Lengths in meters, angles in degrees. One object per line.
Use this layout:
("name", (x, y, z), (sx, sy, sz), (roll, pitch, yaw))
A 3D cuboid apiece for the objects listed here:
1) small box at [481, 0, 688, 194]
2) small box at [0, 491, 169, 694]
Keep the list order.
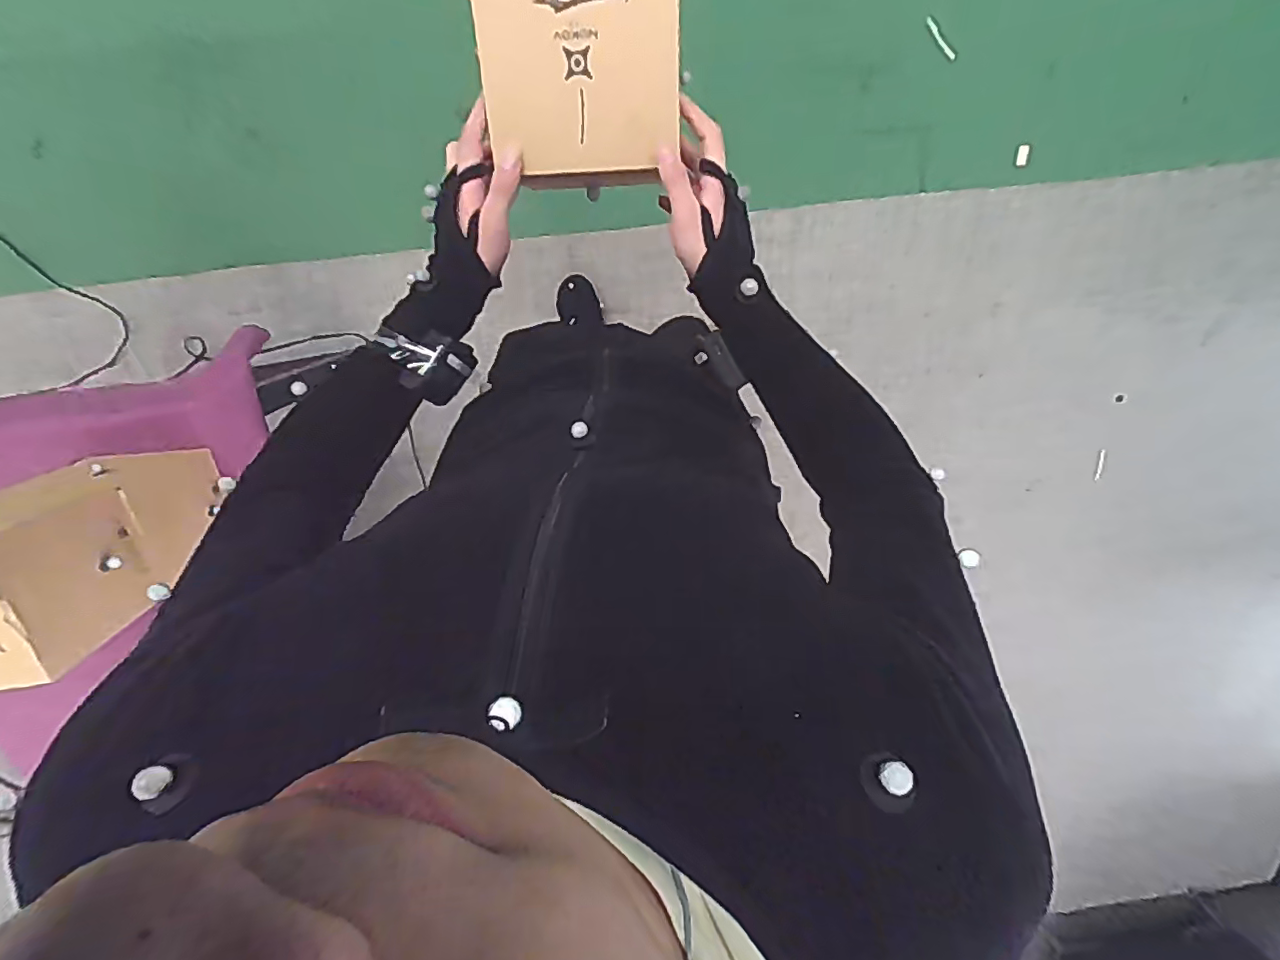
("small box", (-0.043, -0.377, 0.513), (0.168, 0.176, 0.179), (-1, 116, 2))
("small box", (-0.711, 0.124, 0.617), (0.179, 0.176, 0.168), (-6, 112, -2))
